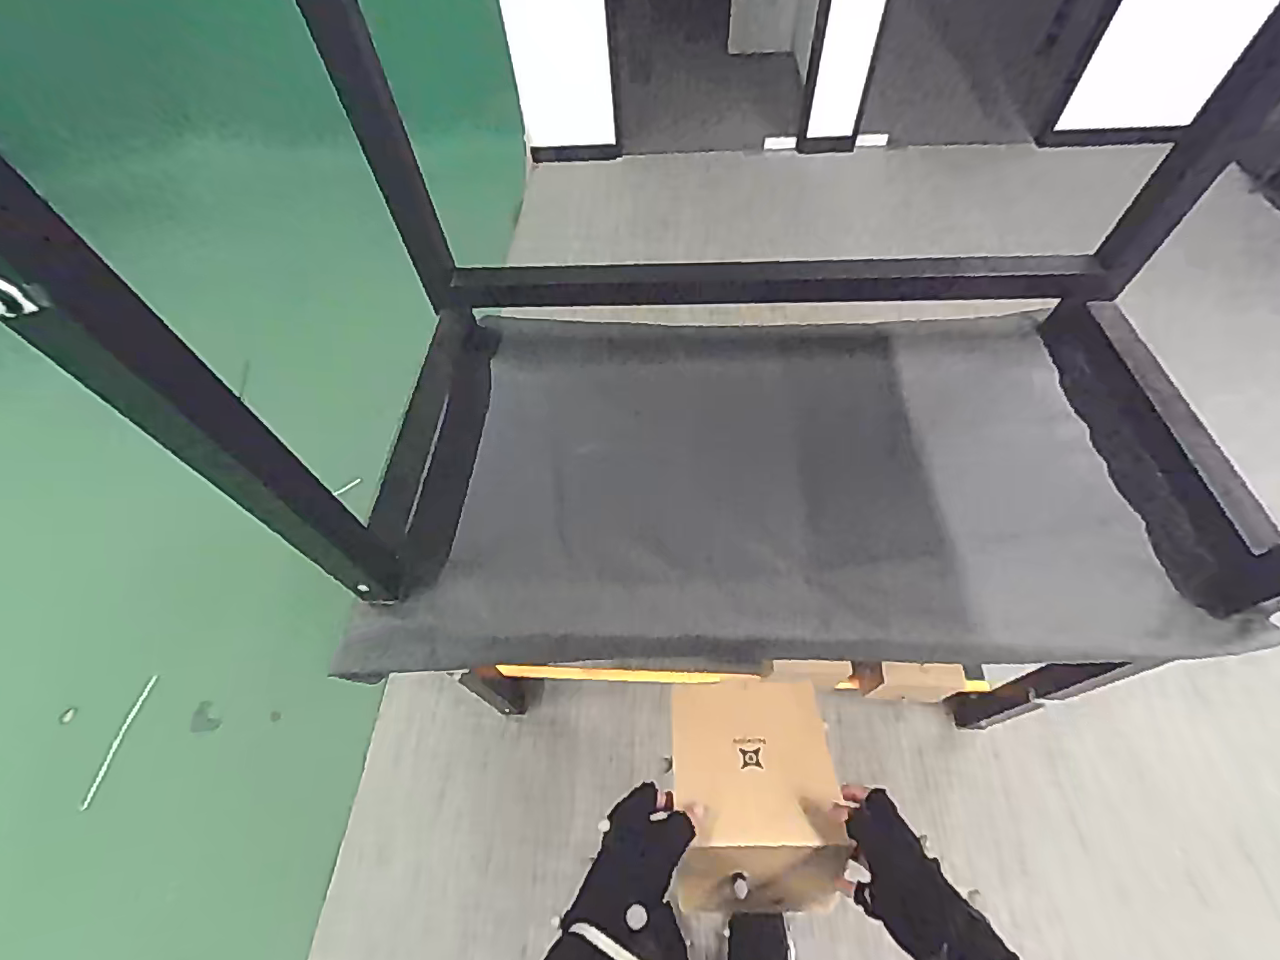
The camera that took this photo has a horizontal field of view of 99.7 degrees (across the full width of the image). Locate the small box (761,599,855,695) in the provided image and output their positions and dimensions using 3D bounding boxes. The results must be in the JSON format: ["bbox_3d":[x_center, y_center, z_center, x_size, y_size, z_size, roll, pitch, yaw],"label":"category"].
[{"bbox_3d":[0.376,0.385,1.236,0.168,0.176,0.179,0,57,3],"label":"small box"}]

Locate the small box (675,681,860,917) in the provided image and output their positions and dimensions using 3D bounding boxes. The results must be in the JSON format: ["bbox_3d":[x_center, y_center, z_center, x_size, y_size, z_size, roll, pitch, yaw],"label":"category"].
[{"bbox_3d":[0.127,0.351,0.597,0.168,0.176,0.179,-4,33,4],"label":"small box"}]
